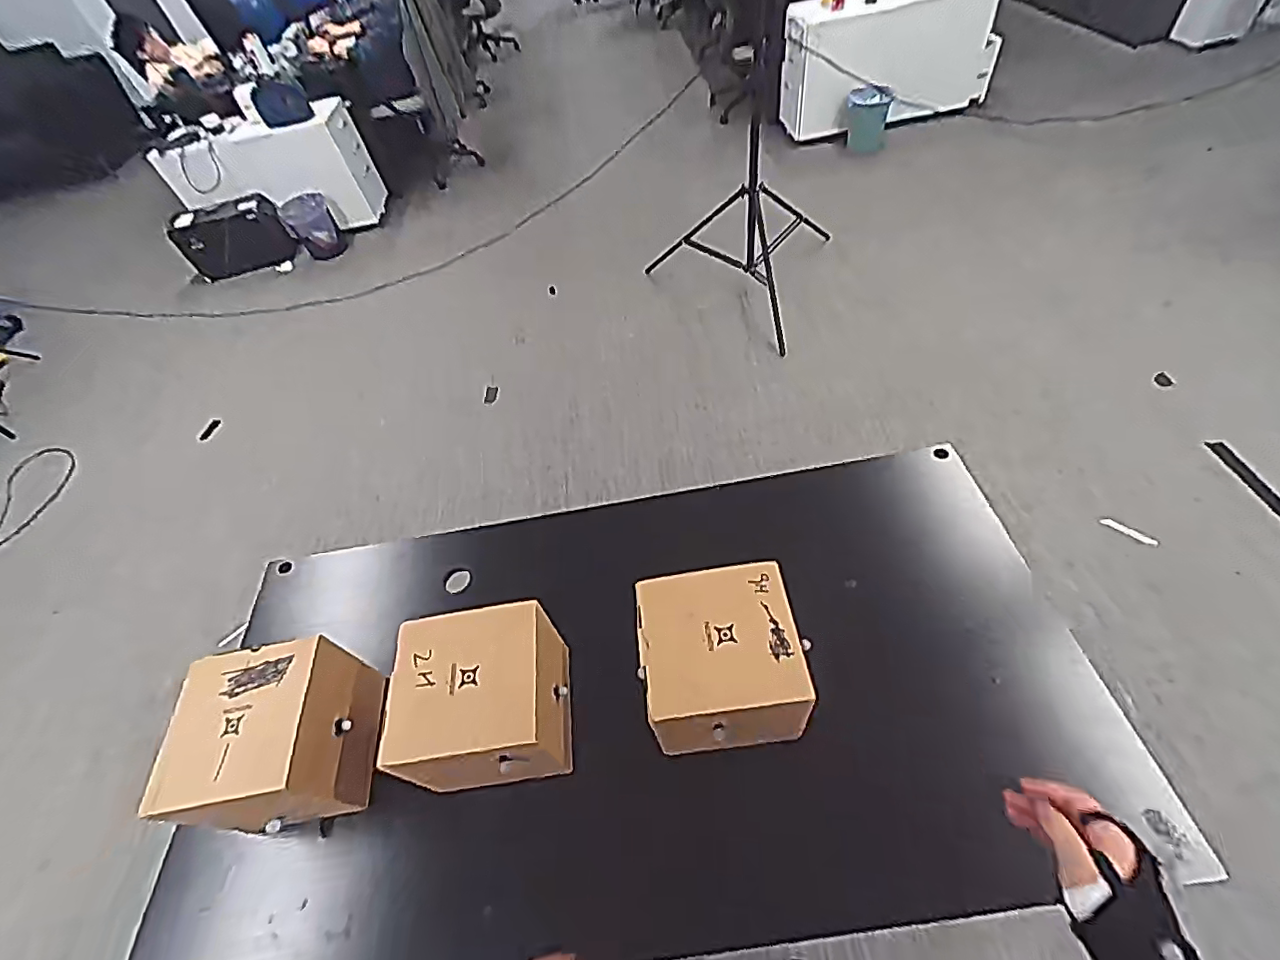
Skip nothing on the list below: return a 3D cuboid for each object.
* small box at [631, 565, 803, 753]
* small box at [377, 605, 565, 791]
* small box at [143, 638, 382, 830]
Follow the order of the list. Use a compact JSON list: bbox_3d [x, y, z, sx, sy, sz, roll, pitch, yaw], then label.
[{"bbox_3d":[0.093,0.229,0.677,0.179,0.176,0.168,-9,52,4],"label":"small box"},{"bbox_3d":[-0.195,0.280,0.685,0.179,0.176,0.168,-10,51,1],"label":"small box"},{"bbox_3d":[-0.458,0.329,0.694,0.168,0.176,0.179,-11,52,1],"label":"small box"}]
